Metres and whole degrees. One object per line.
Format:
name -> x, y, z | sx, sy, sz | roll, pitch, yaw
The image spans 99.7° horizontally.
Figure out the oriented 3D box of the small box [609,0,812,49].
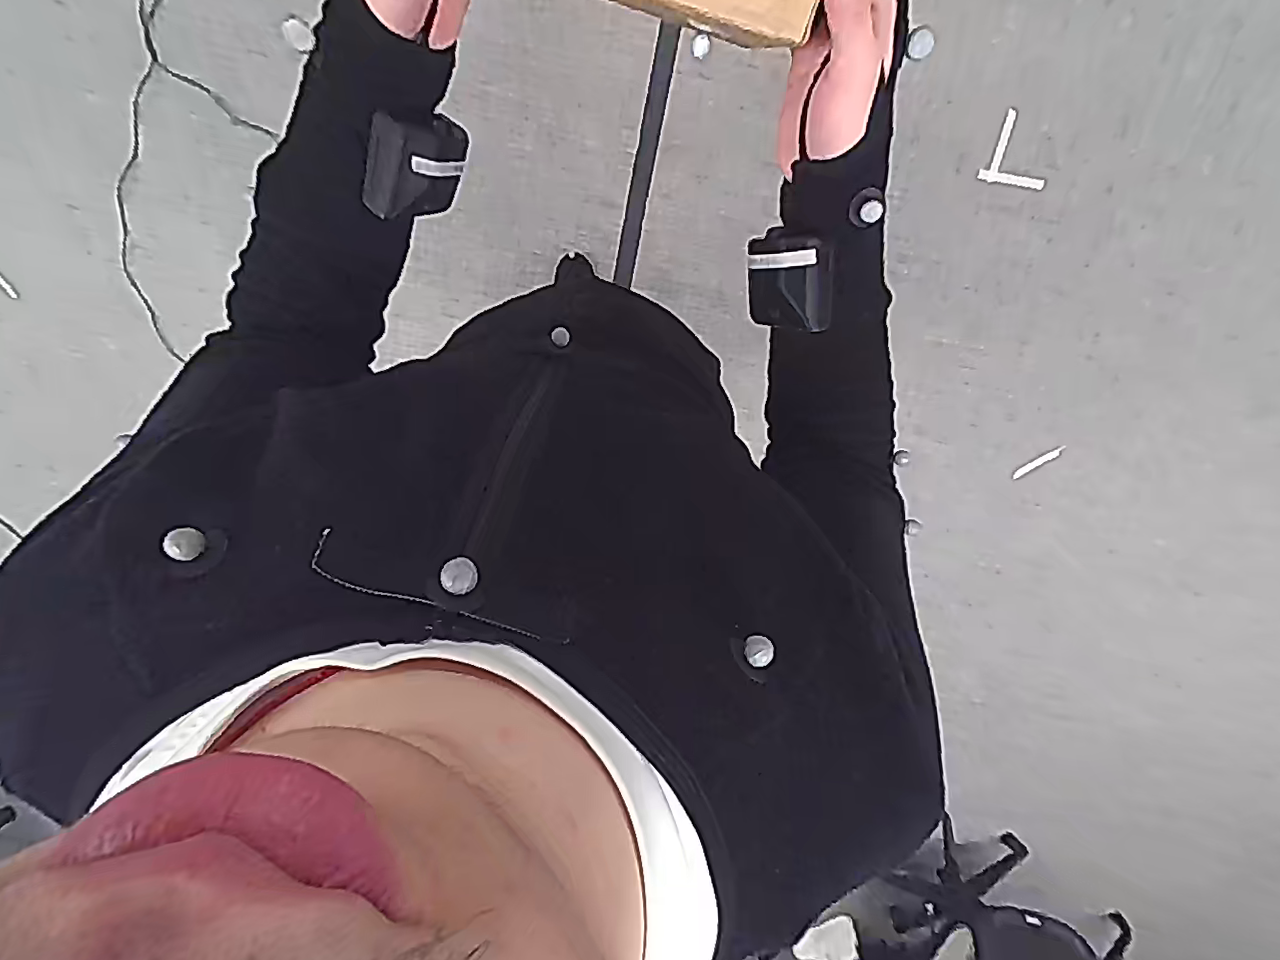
small box -> 0.017, -0.343, 0.268 | 0.176, 0.179, 0.168 | 13, 128, -11
